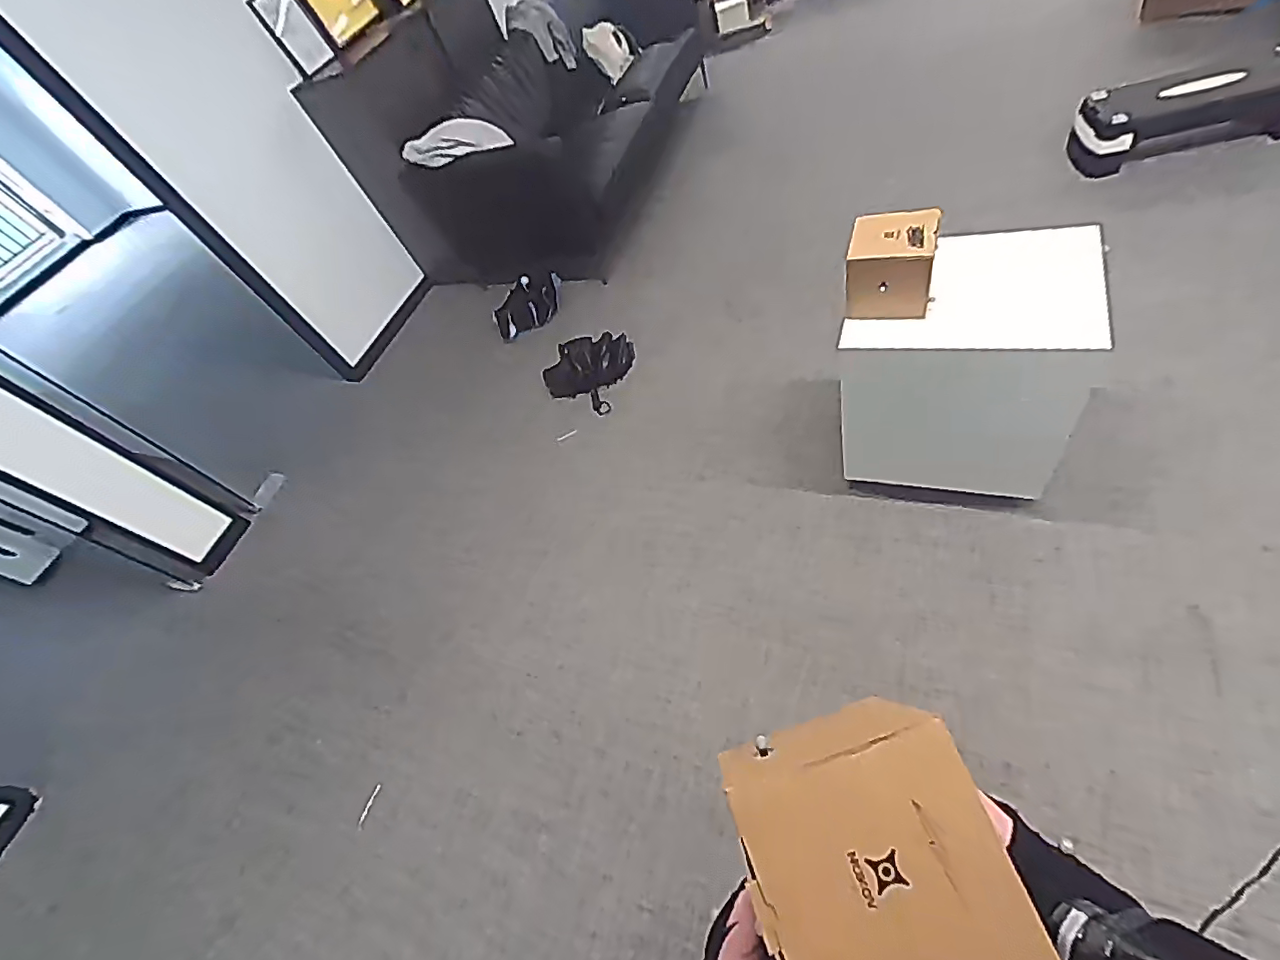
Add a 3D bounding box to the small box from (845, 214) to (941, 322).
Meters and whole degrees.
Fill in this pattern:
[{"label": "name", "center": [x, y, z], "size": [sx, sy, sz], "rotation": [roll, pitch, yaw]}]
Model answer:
[{"label": "small box", "center": [0.581, -0.484, 1.251], "size": [0.179, 0.176, 0.168], "rotation": [8, 58, 26]}]
